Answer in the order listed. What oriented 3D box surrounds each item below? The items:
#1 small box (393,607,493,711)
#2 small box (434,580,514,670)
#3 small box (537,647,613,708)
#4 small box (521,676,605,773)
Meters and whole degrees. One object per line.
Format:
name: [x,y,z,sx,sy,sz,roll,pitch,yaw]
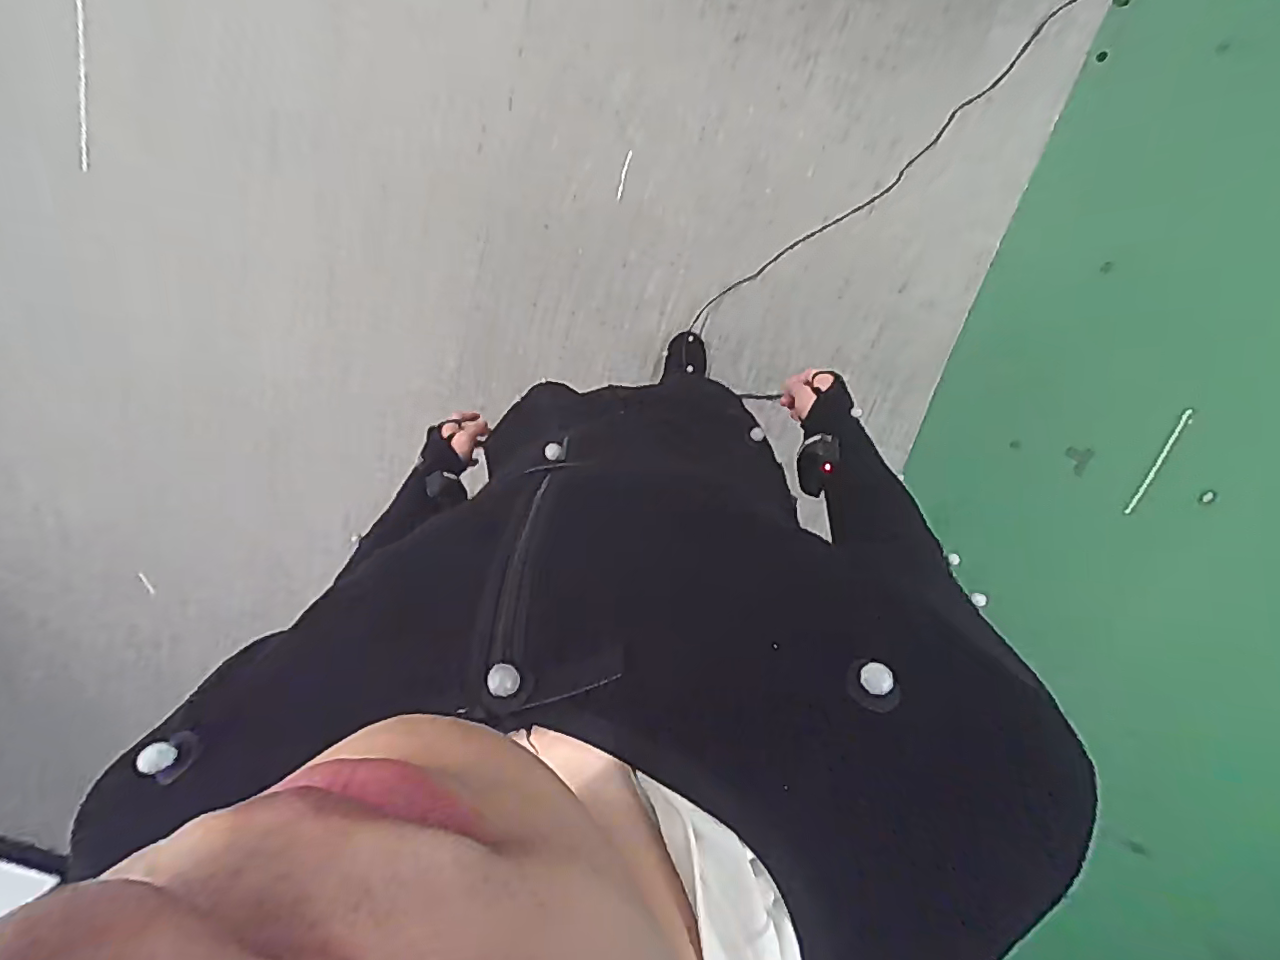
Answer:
small box: [-0.494,0.448,1.377,0.179,0.176,0.168,17,104,-1]
small box: [-0.479,0.402,1.535,0.179,0.176,0.168,17,105,-1]
small box: [-0.206,0.671,1.748,0.179,0.176,0.168,25,106,-2]
small box: [-0.220,0.707,1.587,0.179,0.176,0.168,25,106,-2]
